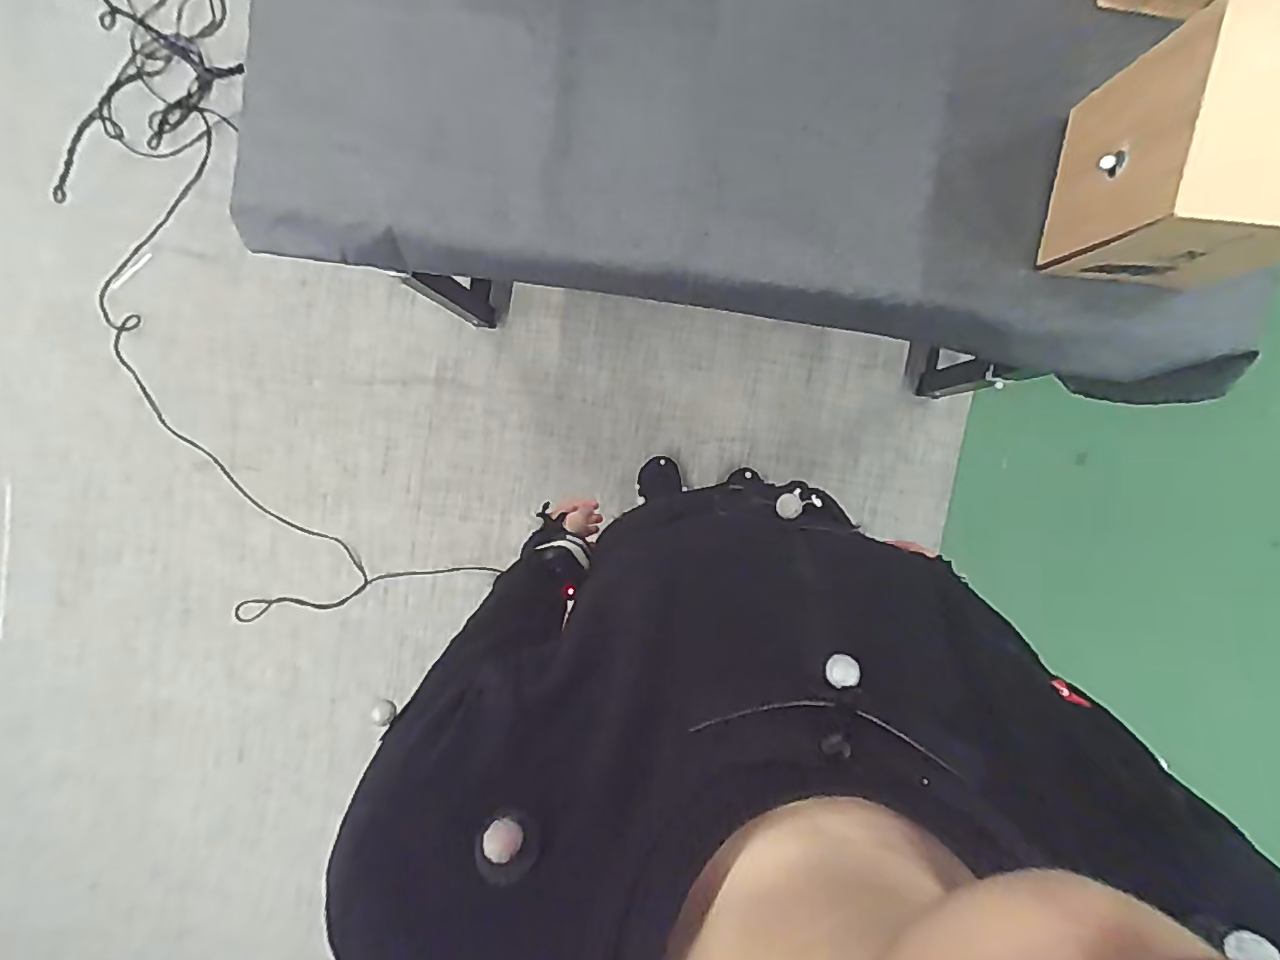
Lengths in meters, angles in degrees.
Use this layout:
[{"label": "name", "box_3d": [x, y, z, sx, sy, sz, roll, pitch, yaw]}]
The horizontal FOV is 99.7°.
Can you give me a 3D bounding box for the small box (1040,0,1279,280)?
[{"label": "small box", "box_3d": [0.525, -0.299, 0.498, 0.168, 0.179, 0.176, 7, 98, 4]}]
